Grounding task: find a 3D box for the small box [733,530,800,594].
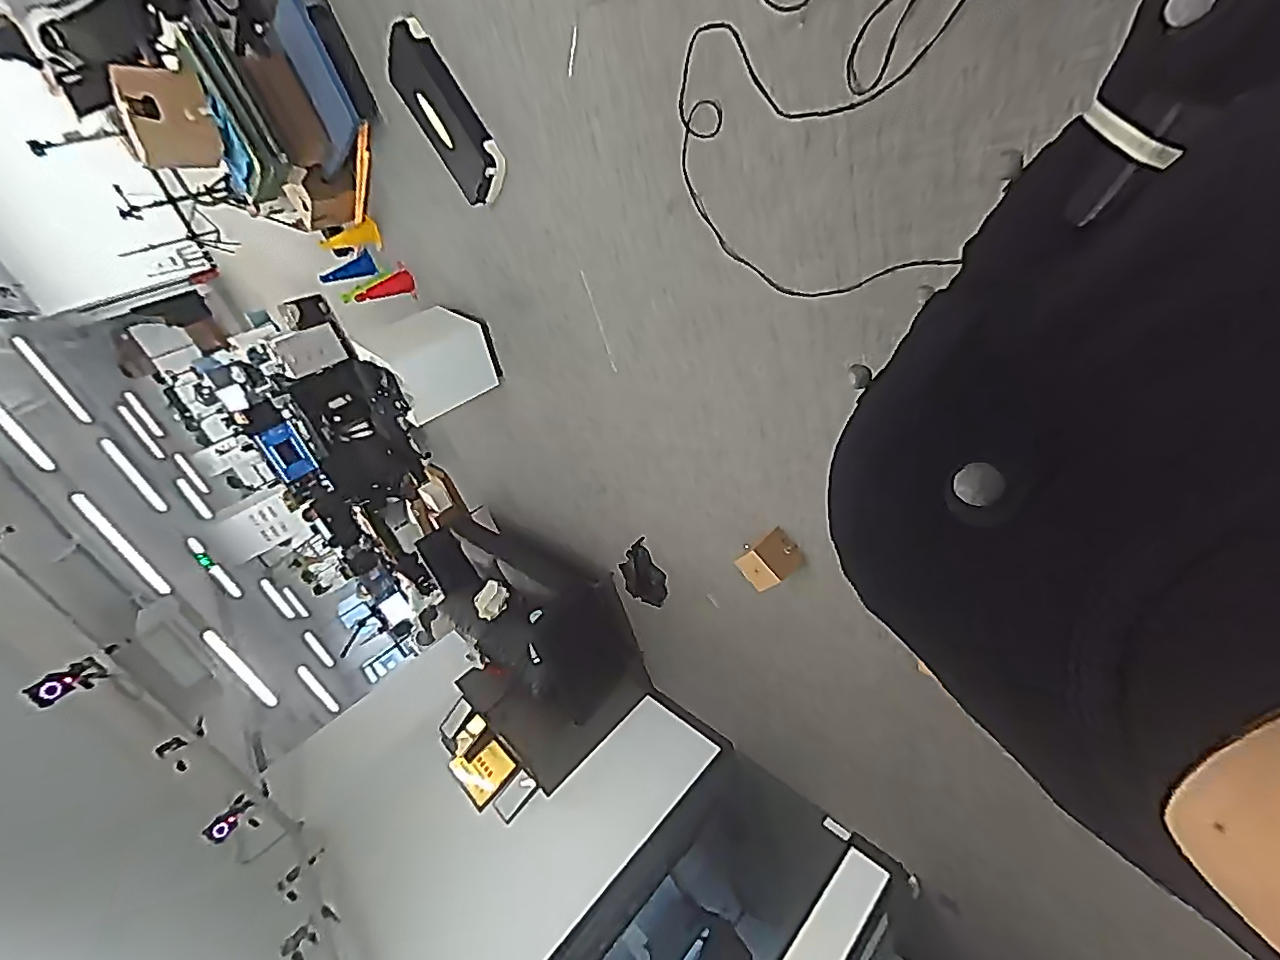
[{"bbox_3d":[0.518,0.334,2.200,0.168,0.176,0.179,49,149,8],"label":"small box"}]
